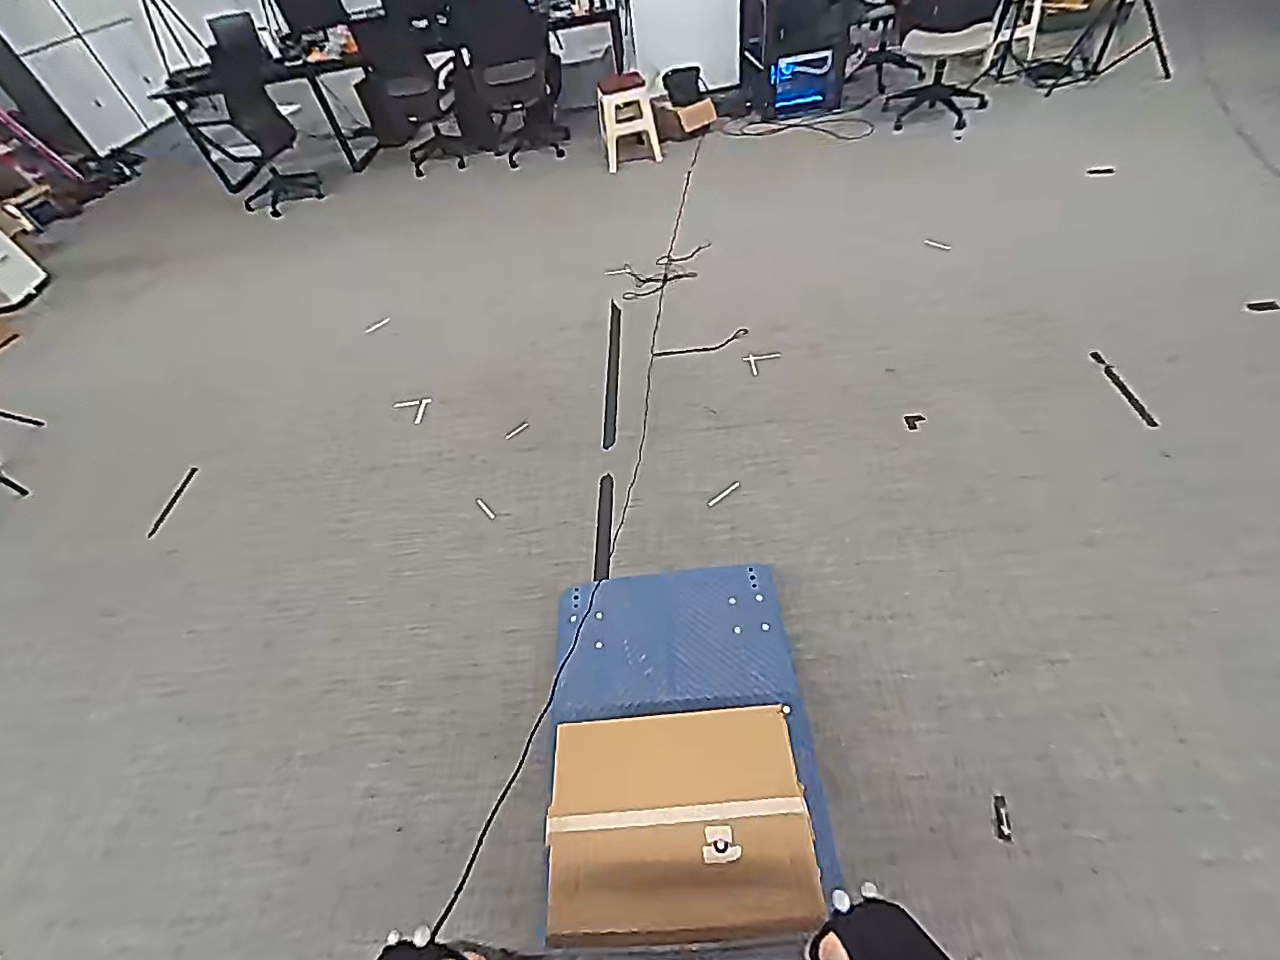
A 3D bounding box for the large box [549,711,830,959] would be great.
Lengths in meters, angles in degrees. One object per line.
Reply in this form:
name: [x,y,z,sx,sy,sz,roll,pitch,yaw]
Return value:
large box: [0.075,0.640,0.959,0.408,0.320,0.320,-7,48,4]
